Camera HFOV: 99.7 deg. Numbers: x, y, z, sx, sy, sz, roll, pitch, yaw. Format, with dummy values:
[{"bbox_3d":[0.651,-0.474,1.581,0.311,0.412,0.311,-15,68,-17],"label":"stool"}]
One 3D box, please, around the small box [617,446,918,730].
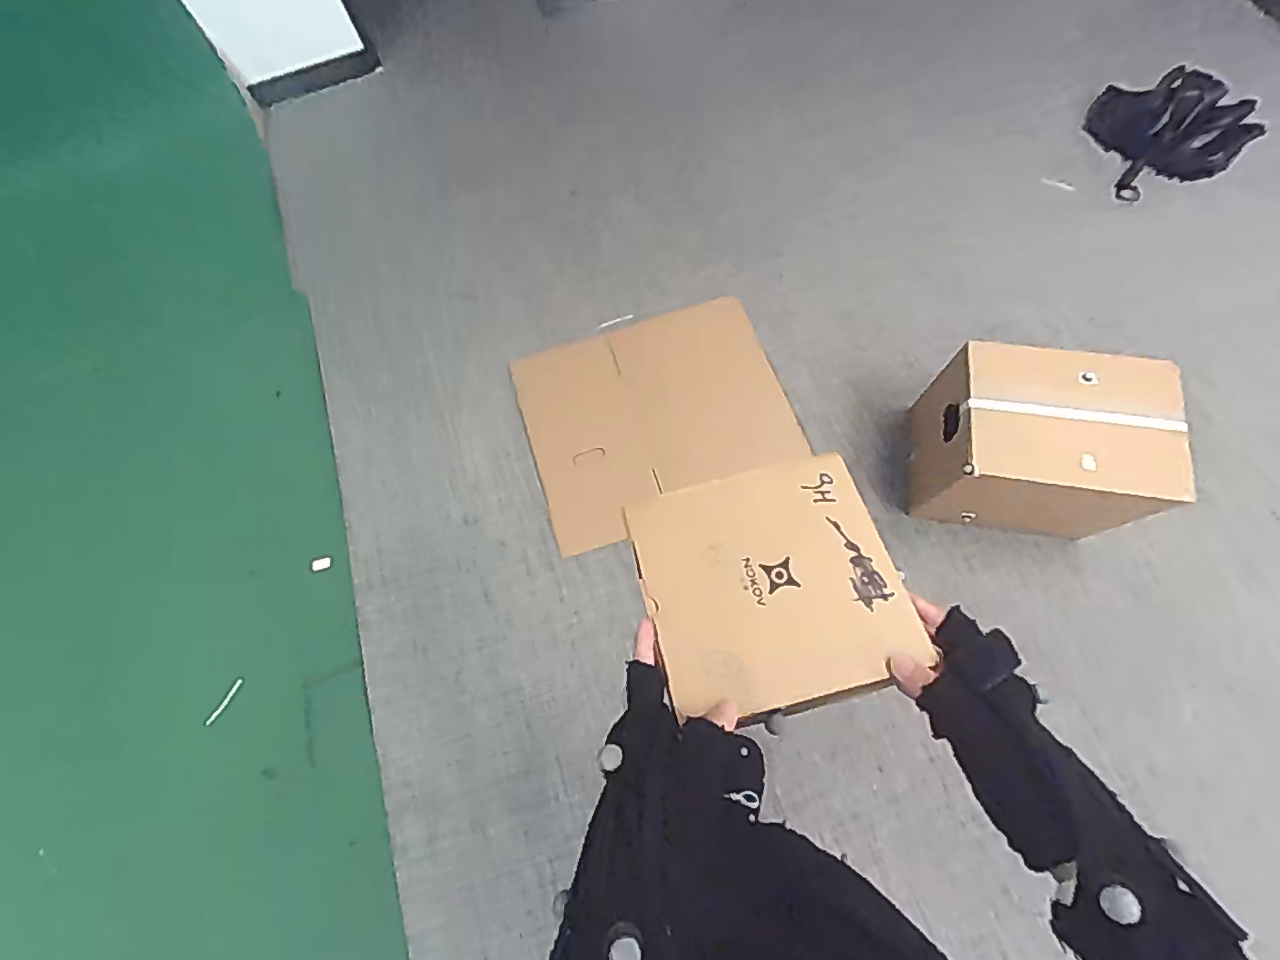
[{"bbox_3d":[0.092,0.101,0.465,0.179,0.176,0.168,-16,60,-4],"label":"small box"}]
